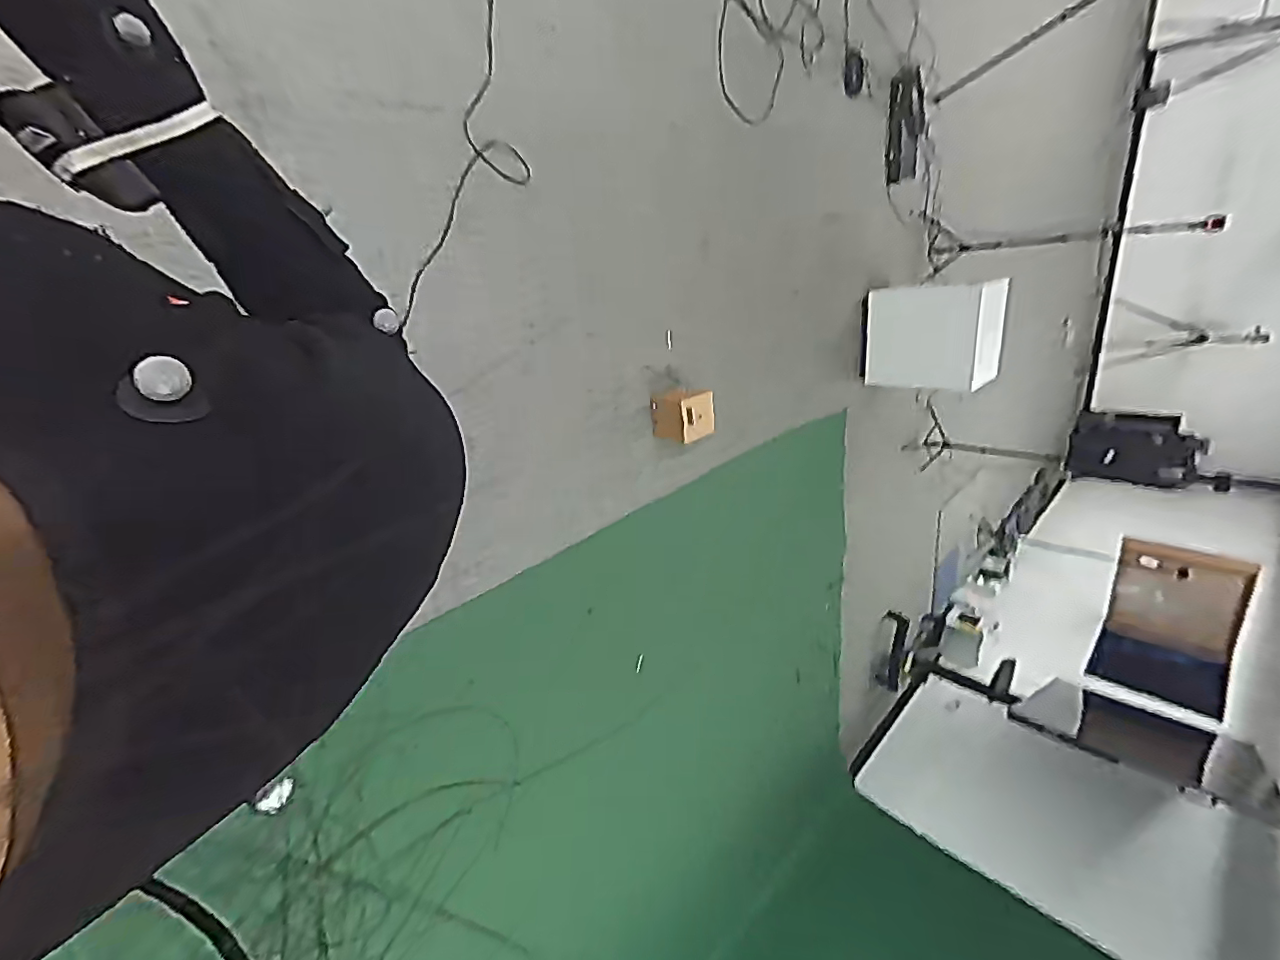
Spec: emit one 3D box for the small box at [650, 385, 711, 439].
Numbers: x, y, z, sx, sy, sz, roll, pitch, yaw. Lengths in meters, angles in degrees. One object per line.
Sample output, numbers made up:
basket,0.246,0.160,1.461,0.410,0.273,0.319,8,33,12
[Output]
small box,0.153,-0.267,2.088,0.179,0.176,0.168,-24,118,-38
